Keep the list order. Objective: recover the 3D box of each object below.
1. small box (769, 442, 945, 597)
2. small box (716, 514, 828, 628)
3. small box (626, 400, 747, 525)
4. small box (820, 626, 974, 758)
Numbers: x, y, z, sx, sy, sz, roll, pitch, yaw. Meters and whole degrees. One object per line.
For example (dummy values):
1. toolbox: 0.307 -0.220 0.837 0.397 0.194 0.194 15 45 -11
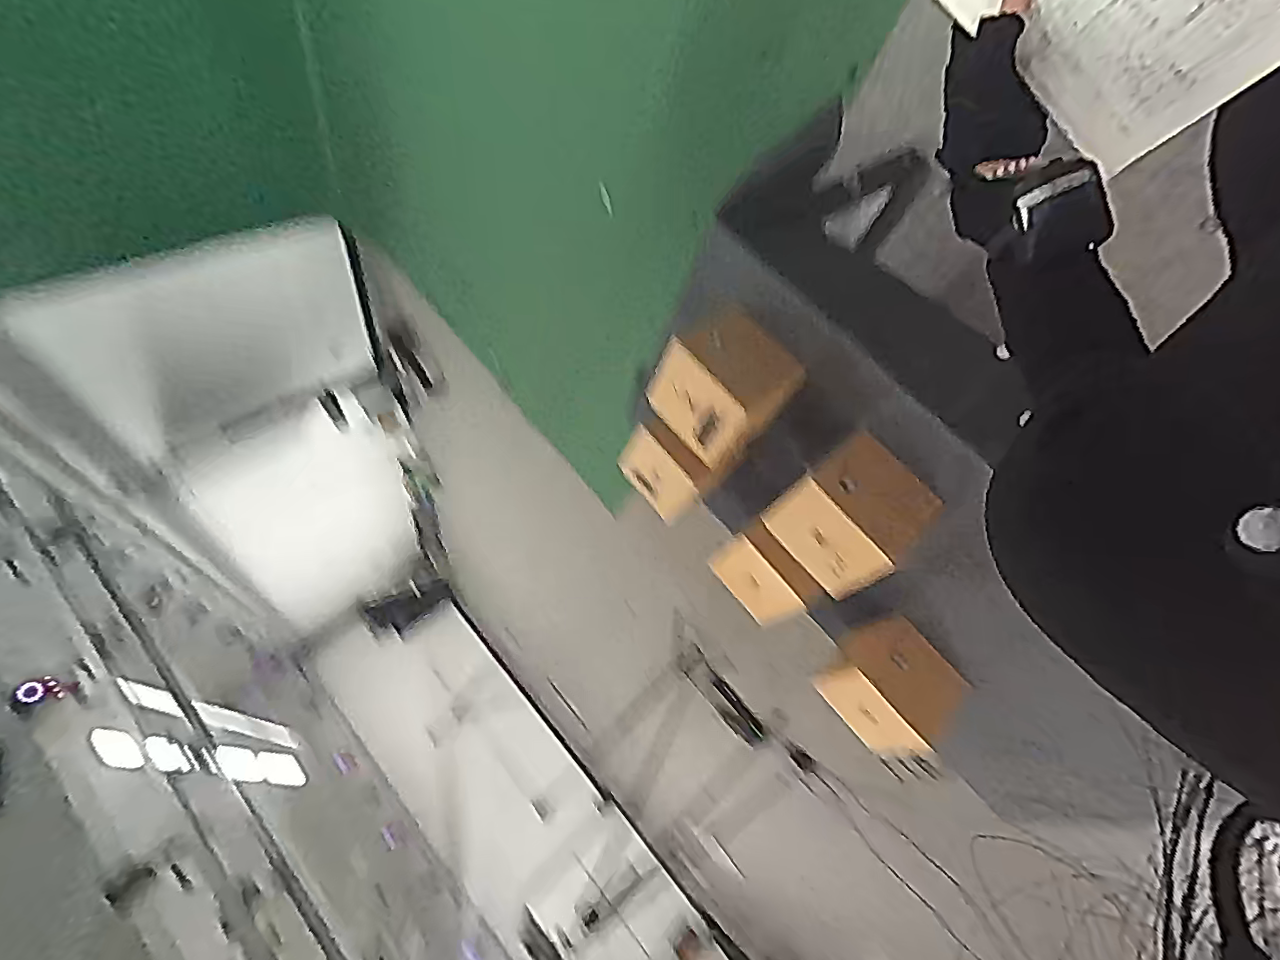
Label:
1. small box: 0.359 0.059 0.904 0.179 0.176 0.168 47 150 12
2. small box: 0.294 0.171 1.112 0.168 0.176 0.179 48 149 10
3. small box: 0.101 -0.038 1.168 0.168 0.176 0.179 48 148 10
4. small box: 0.498 0.407 1.056 0.179 0.176 0.168 49 149 12
